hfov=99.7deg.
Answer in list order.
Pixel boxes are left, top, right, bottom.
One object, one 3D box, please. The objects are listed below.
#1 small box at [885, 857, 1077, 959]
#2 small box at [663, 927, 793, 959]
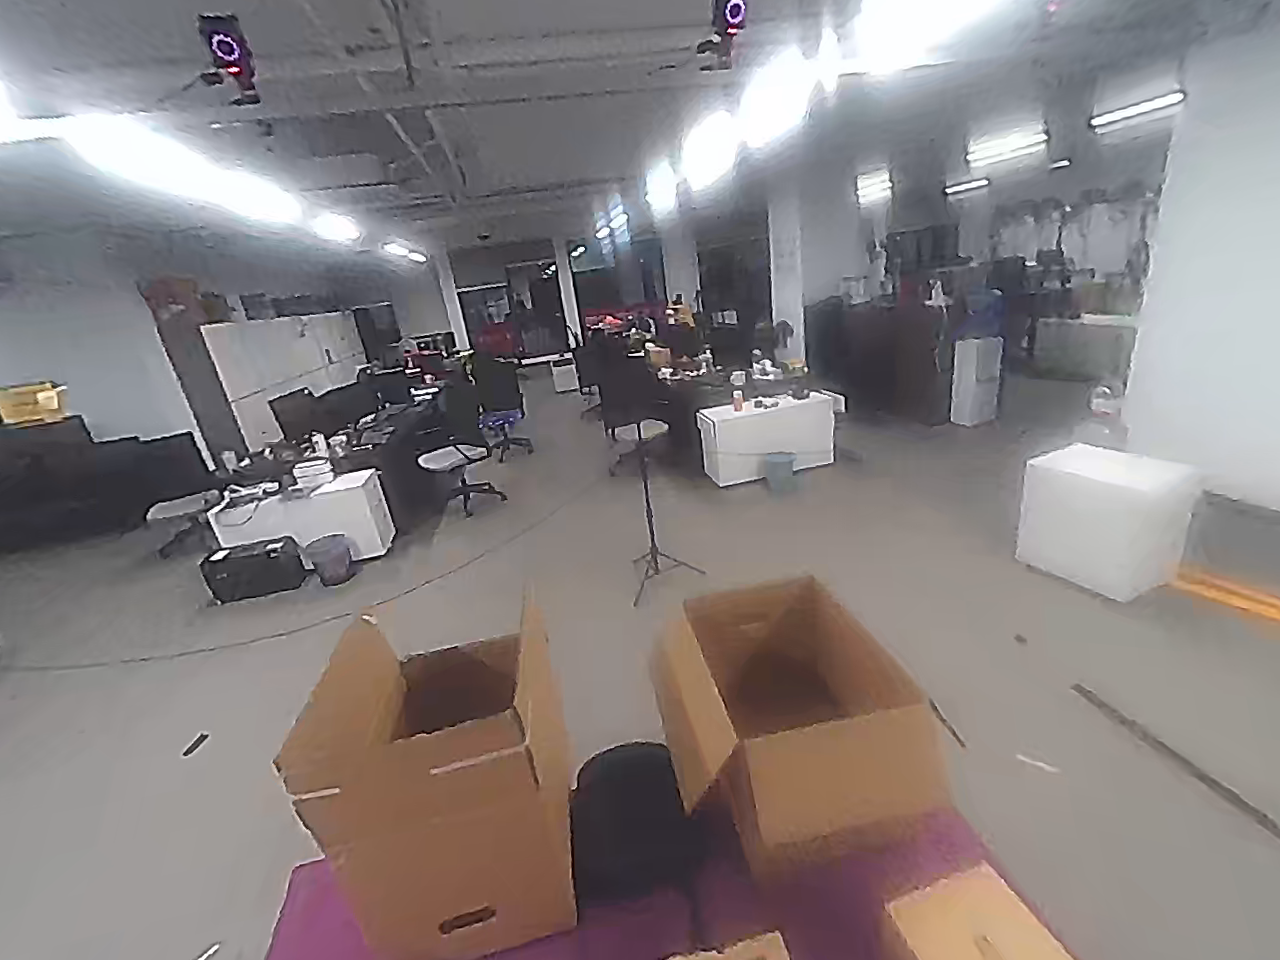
[{"bbox_3d":[0.433,0.639,0.683,0.168,0.176,0.179,-14,21,-10],"label":"small box"},{"bbox_3d":[0.128,0.701,0.648,0.168,0.176,0.179,-11,21,-5],"label":"small box"}]
